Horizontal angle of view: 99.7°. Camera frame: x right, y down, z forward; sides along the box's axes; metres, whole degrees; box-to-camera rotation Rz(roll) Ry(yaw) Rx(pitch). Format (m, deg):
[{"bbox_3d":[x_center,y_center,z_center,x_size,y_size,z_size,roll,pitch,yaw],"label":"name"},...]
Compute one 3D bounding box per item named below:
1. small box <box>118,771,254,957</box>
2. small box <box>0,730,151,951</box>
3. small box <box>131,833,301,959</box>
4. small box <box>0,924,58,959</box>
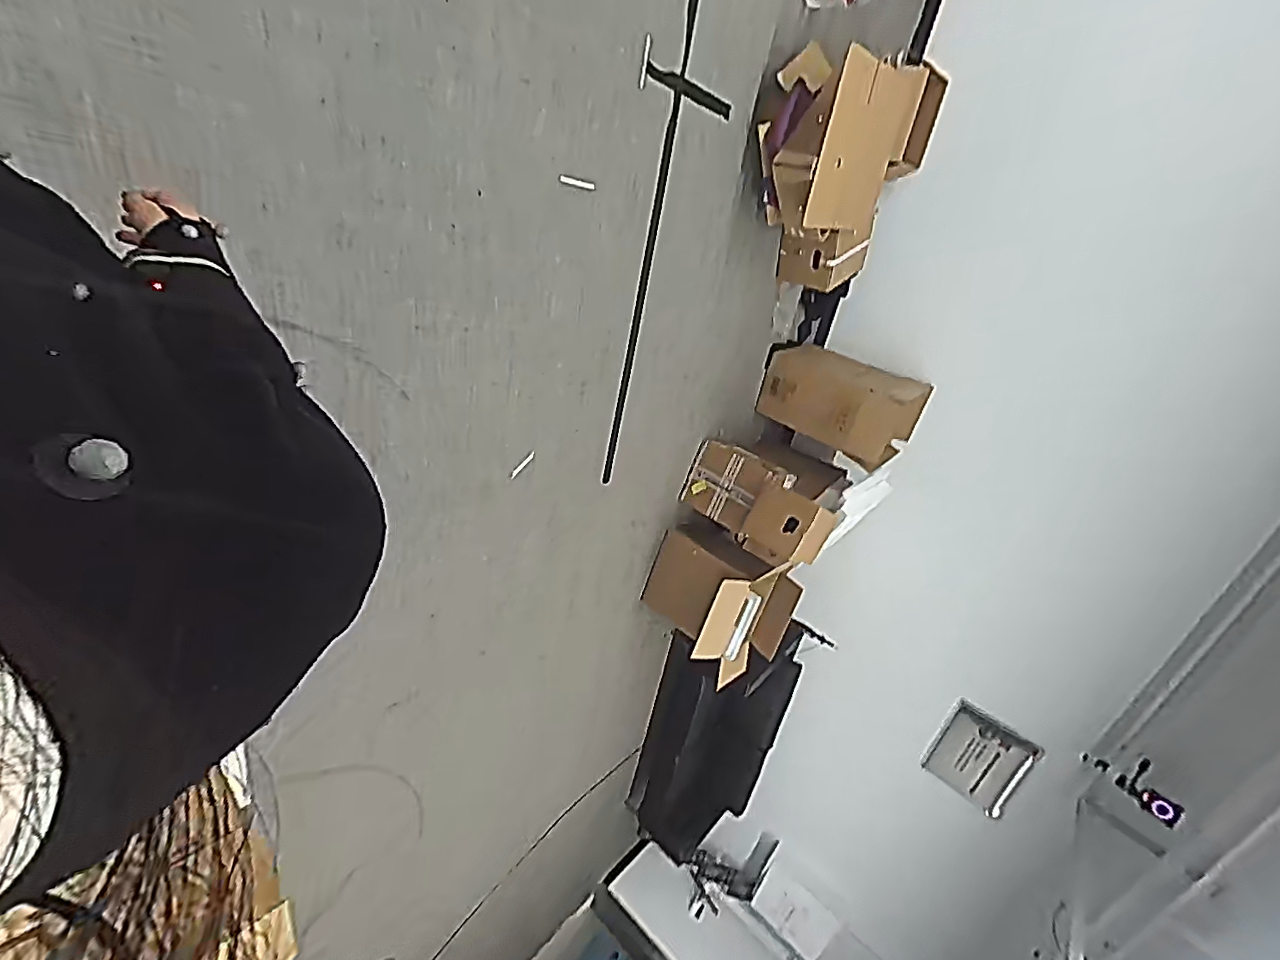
[{"bbox_3d":[-0.791,0.644,0.936,0.168,0.176,0.179,-15,127,-49],"label":"small box"},{"bbox_3d":[-0.828,0.490,0.764,0.168,0.176,0.179,-14,126,-50],"label":"small box"},{"bbox_3d":[-0.666,0.707,0.856,0.168,0.176,0.179,-18,129,-47],"label":"small box"},{"bbox_3d":[-0.948,0.684,0.753,0.168,0.176,0.179,-19,127,-49],"label":"small box"}]
